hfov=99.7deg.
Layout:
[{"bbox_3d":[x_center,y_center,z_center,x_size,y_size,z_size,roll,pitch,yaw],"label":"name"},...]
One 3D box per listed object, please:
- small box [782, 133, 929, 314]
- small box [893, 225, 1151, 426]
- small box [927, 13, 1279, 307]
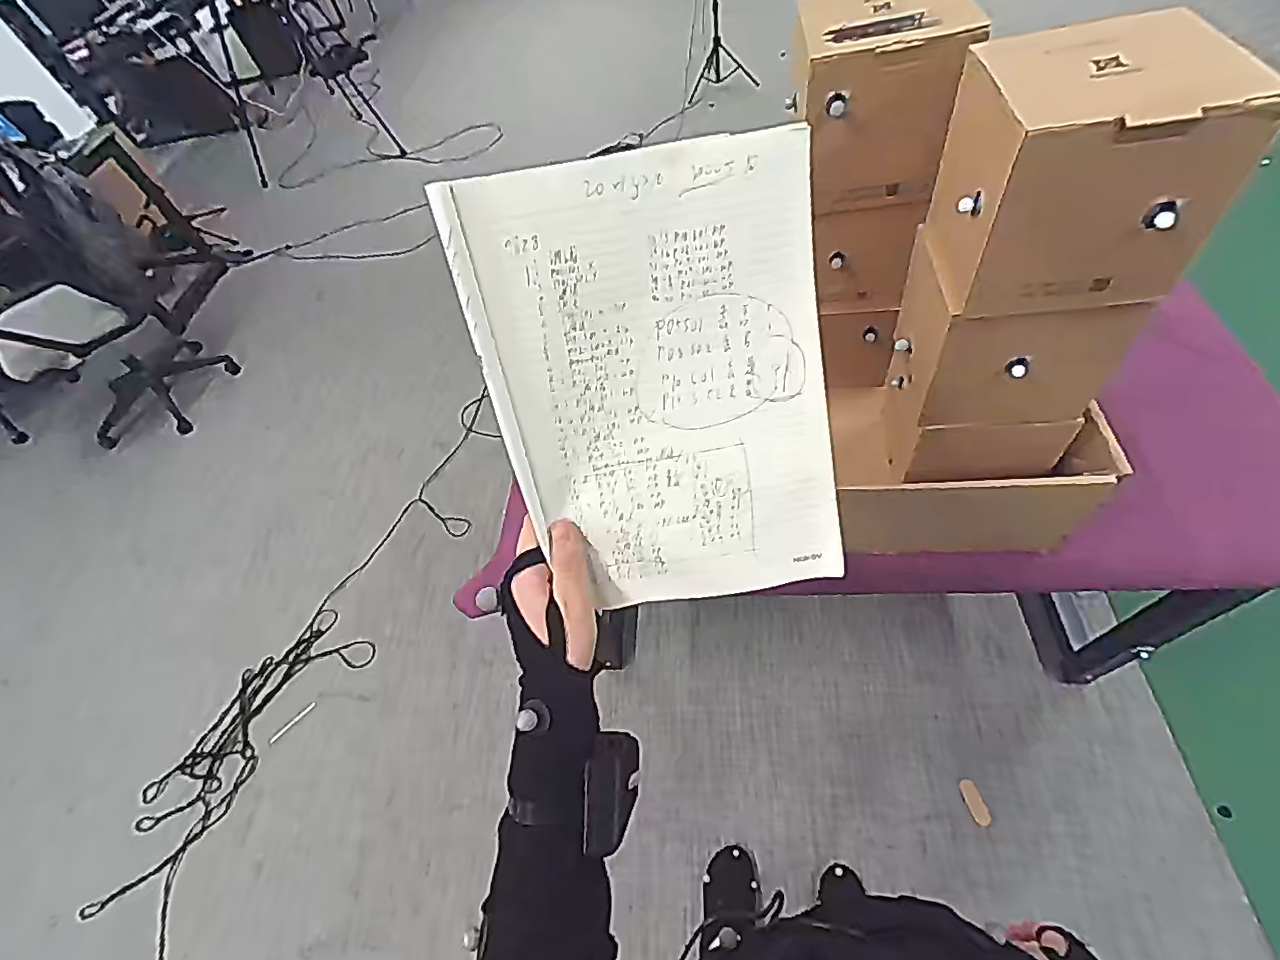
[{"bbox_3d":[0.293,-0.355,0.775,0.168,0.176,0.179,-1,56,12],"label":"small box"},{"bbox_3d":[0.406,-0.178,0.616,0.179,0.176,0.168,-2,53,14],"label":"small box"},{"bbox_3d":[0.377,-0.272,0.486,0.168,0.176,0.179,-1,53,13],"label":"small box"}]
